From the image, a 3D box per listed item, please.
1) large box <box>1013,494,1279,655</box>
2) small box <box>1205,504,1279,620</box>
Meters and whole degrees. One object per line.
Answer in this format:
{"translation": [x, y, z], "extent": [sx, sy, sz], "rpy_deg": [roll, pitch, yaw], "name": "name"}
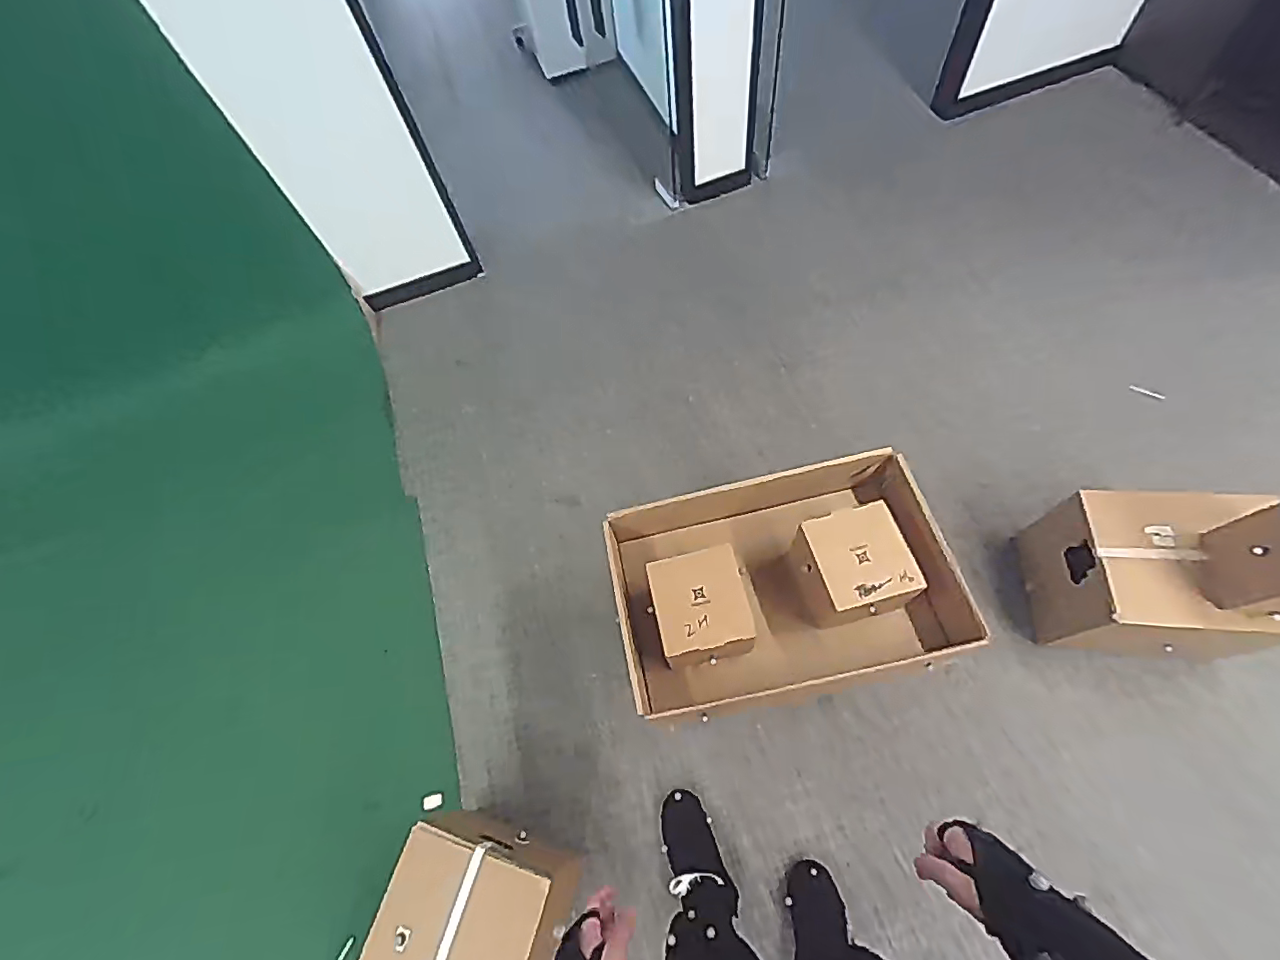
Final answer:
{"translation": [1.216, 0.236, 1.304], "extent": [0.408, 0.320, 0.320], "rpy_deg": [1, 63, 8], "name": "large box"}
{"translation": [1.273, 0.167, 1.056], "extent": [0.168, 0.176, 0.179], "rpy_deg": [7, 66, 11], "name": "small box"}
